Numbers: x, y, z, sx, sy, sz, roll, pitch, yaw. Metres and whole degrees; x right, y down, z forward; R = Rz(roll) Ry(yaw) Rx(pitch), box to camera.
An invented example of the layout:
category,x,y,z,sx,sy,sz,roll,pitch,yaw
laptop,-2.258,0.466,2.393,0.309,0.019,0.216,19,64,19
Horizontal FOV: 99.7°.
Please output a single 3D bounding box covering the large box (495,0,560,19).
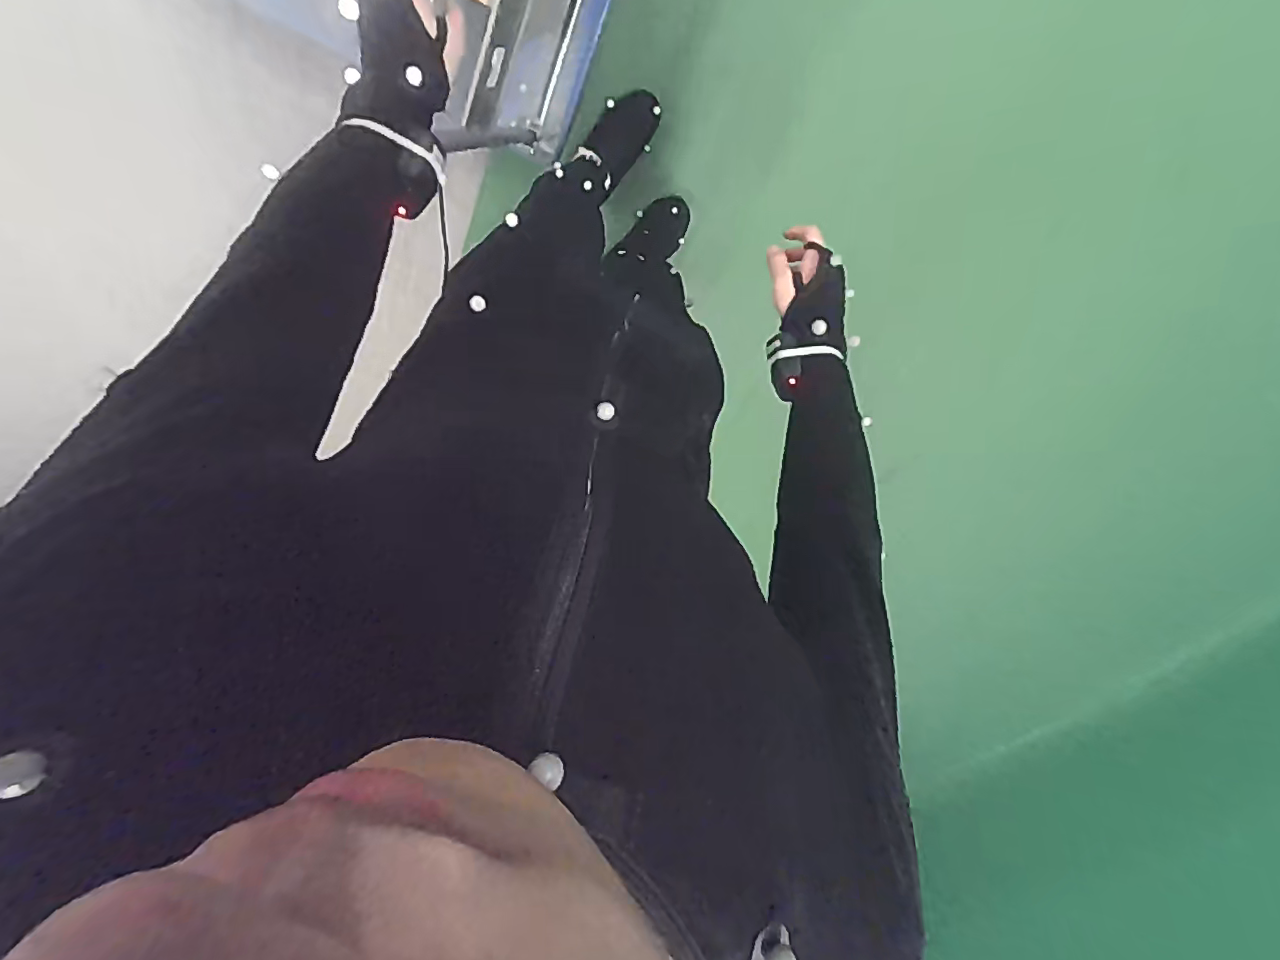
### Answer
category,x,y,z,sx,sy,sz,roll,pitch,yaw
large box,-0.290,-0.953,0.775,0.408,0.320,0.320,23,124,-12
